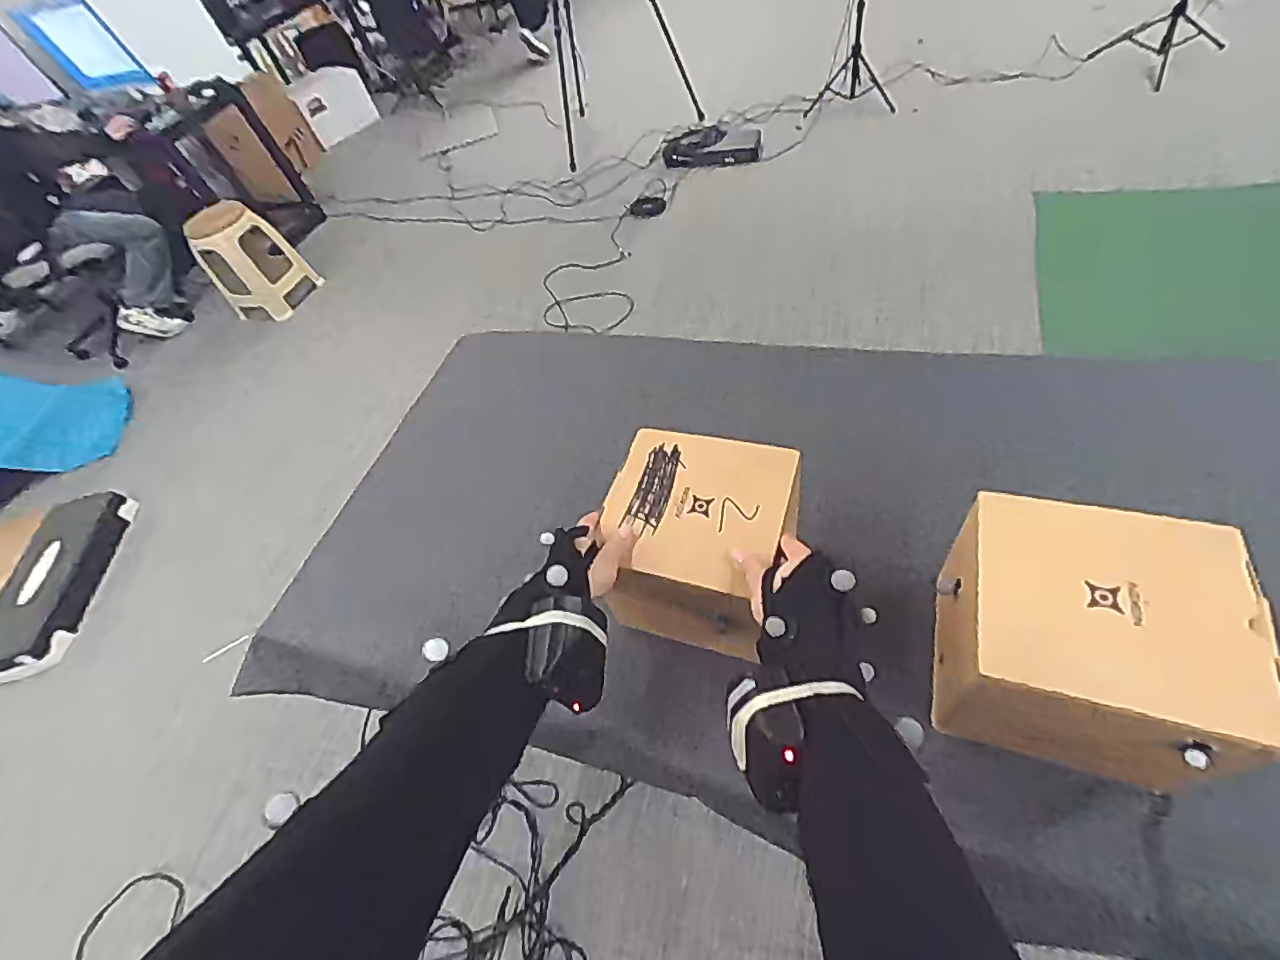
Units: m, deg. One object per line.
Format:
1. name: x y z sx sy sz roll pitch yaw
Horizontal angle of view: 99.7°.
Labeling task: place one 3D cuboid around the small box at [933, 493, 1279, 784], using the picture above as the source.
1. small box: 0.361 0.135 0.457 0.179 0.176 0.168 10 57 21
